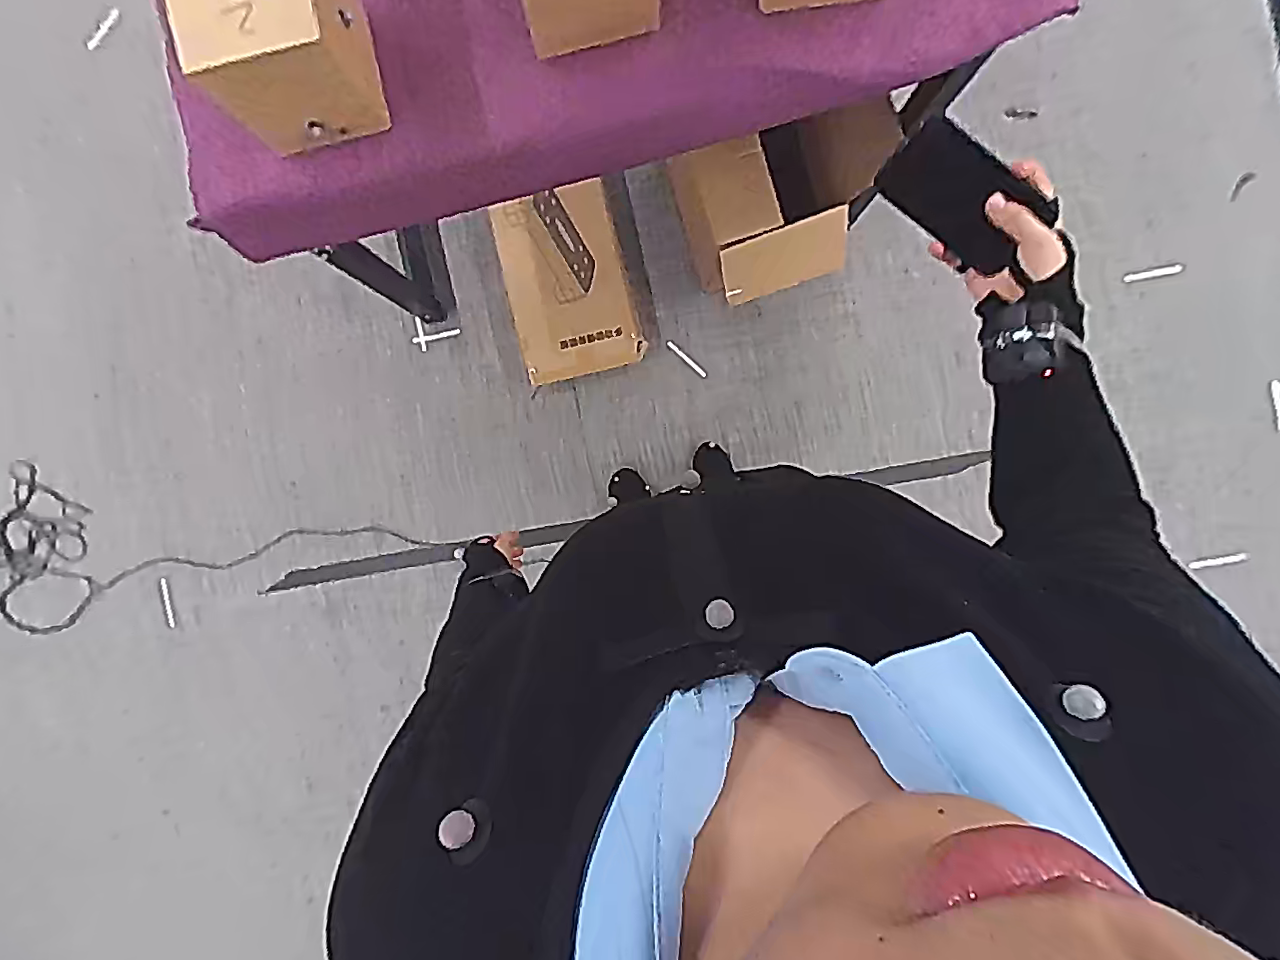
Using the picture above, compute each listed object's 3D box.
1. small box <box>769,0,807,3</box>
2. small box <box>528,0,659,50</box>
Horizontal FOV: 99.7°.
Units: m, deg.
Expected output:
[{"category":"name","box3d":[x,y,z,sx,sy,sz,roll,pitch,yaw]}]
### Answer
[{"category":"small box","box3d":[0.245,-0.733,0.657,0.179,0.176,0.168,-6,92,1]},{"category":"small box","box3d":[-0.070,-0.686,0.664,0.179,0.176,0.168,-13,89,2]}]
